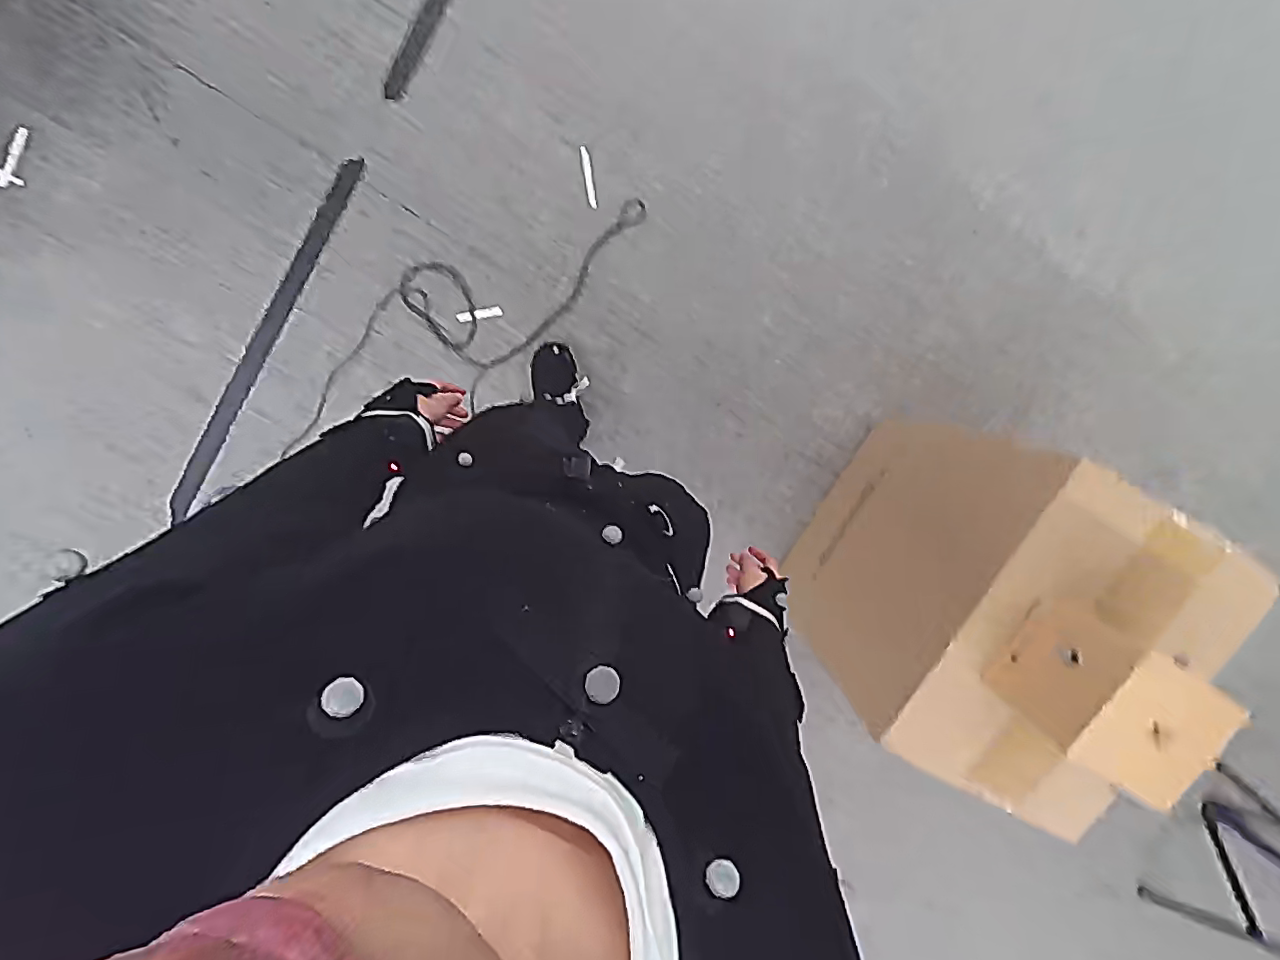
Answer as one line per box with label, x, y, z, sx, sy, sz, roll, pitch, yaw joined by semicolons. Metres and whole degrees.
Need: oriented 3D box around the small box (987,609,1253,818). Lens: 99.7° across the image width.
small box;0.629;0.299;0.735;0.179;0.176;0.168;32;97;-9
